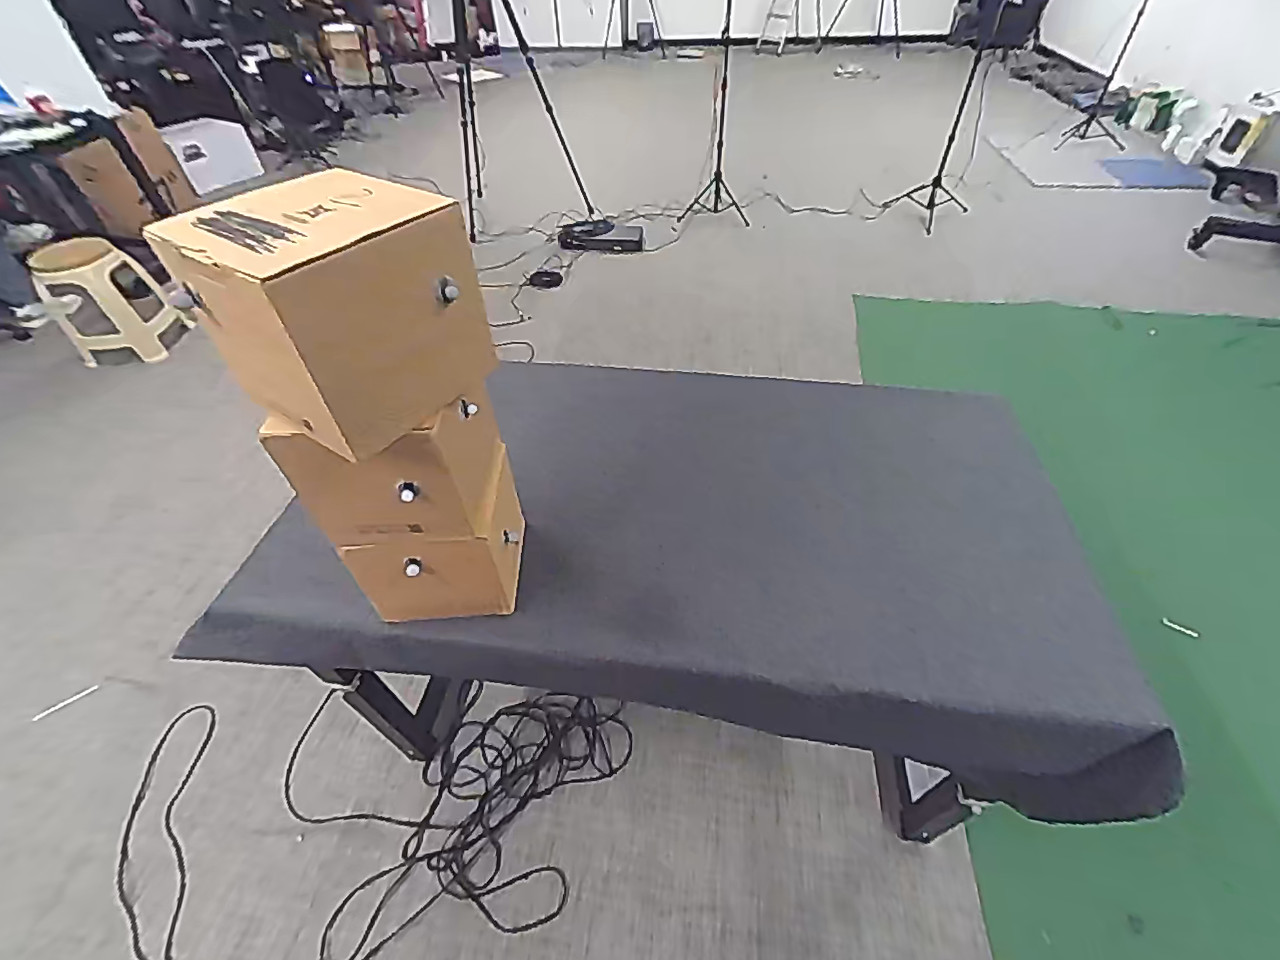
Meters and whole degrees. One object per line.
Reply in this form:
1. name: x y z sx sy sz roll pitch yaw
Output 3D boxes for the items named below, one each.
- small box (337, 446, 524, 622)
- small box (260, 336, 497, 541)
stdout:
1. small box: -0.259 0.074 0.725 0.179 0.176 0.168 -4 45 -1
2. small box: -0.270 -0.043 0.612 0.168 0.176 0.179 -1 44 0
